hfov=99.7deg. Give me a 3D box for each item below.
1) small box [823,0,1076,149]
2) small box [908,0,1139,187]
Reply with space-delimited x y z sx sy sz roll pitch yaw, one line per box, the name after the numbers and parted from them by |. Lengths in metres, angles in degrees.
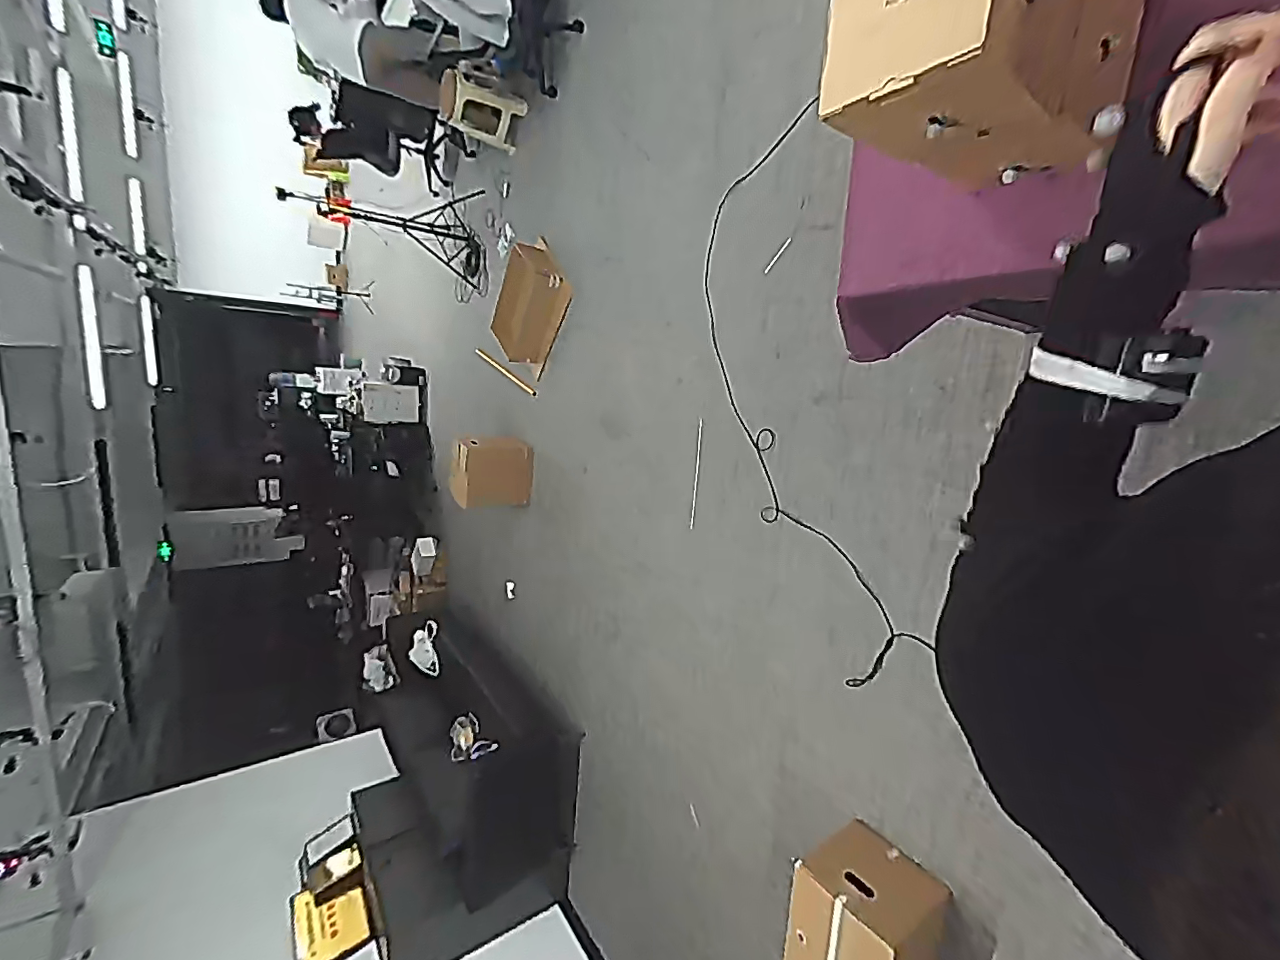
0.312 -0.461 0.545 0.168 0.176 0.179 18 108 52 | small box
0.448 -0.476 0.636 0.168 0.176 0.179 17 107 53 | small box
